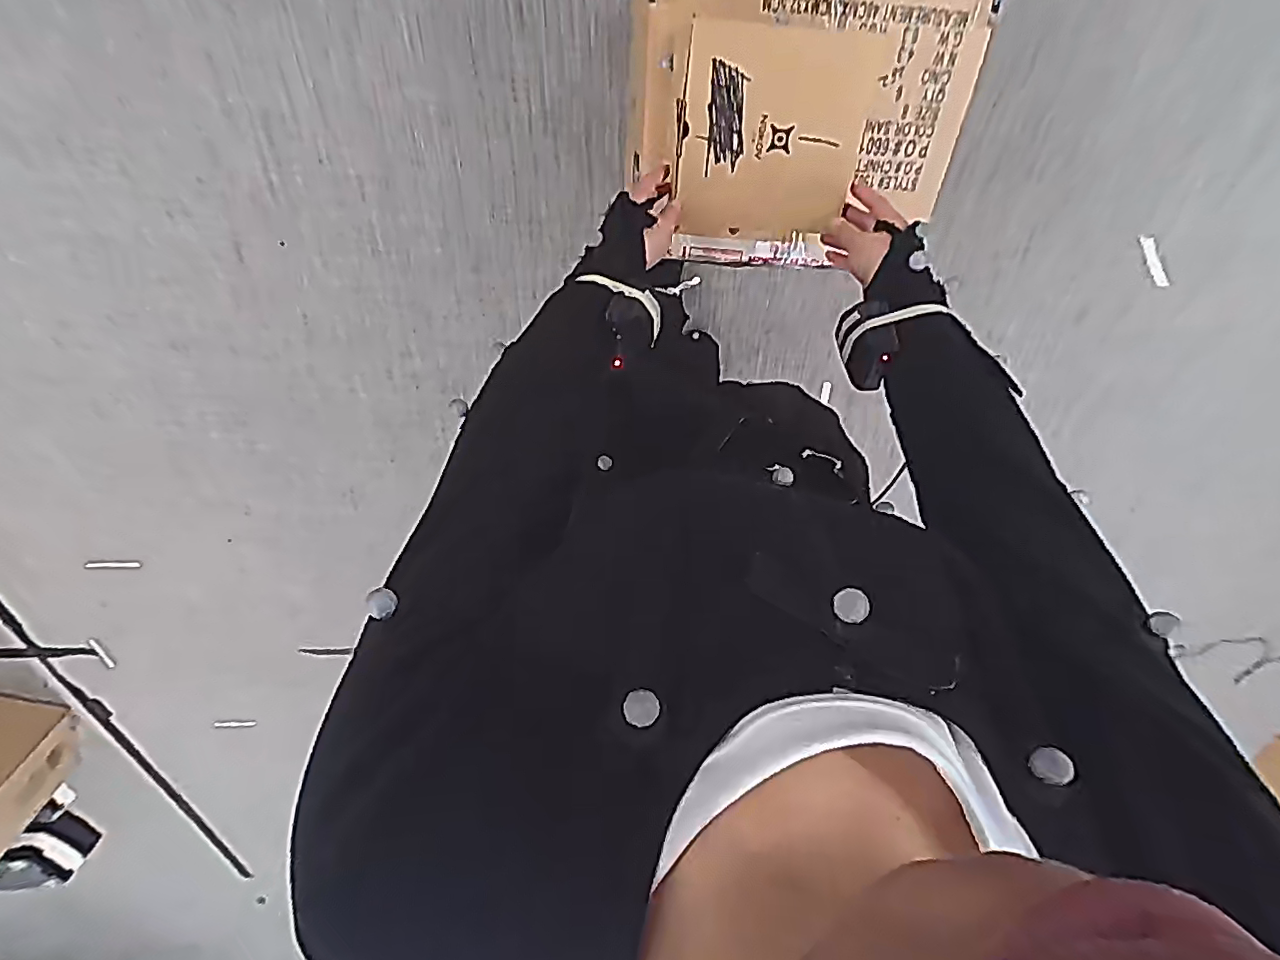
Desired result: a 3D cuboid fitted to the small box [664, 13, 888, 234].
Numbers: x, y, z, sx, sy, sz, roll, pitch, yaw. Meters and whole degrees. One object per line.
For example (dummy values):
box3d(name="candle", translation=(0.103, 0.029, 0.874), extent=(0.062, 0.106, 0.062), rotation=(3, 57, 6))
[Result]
box3d(name="small box", translation=(0.122, -0.374, 0.577), extent=(0.179, 0.176, 0.168), rotation=(2, 127, -5))
